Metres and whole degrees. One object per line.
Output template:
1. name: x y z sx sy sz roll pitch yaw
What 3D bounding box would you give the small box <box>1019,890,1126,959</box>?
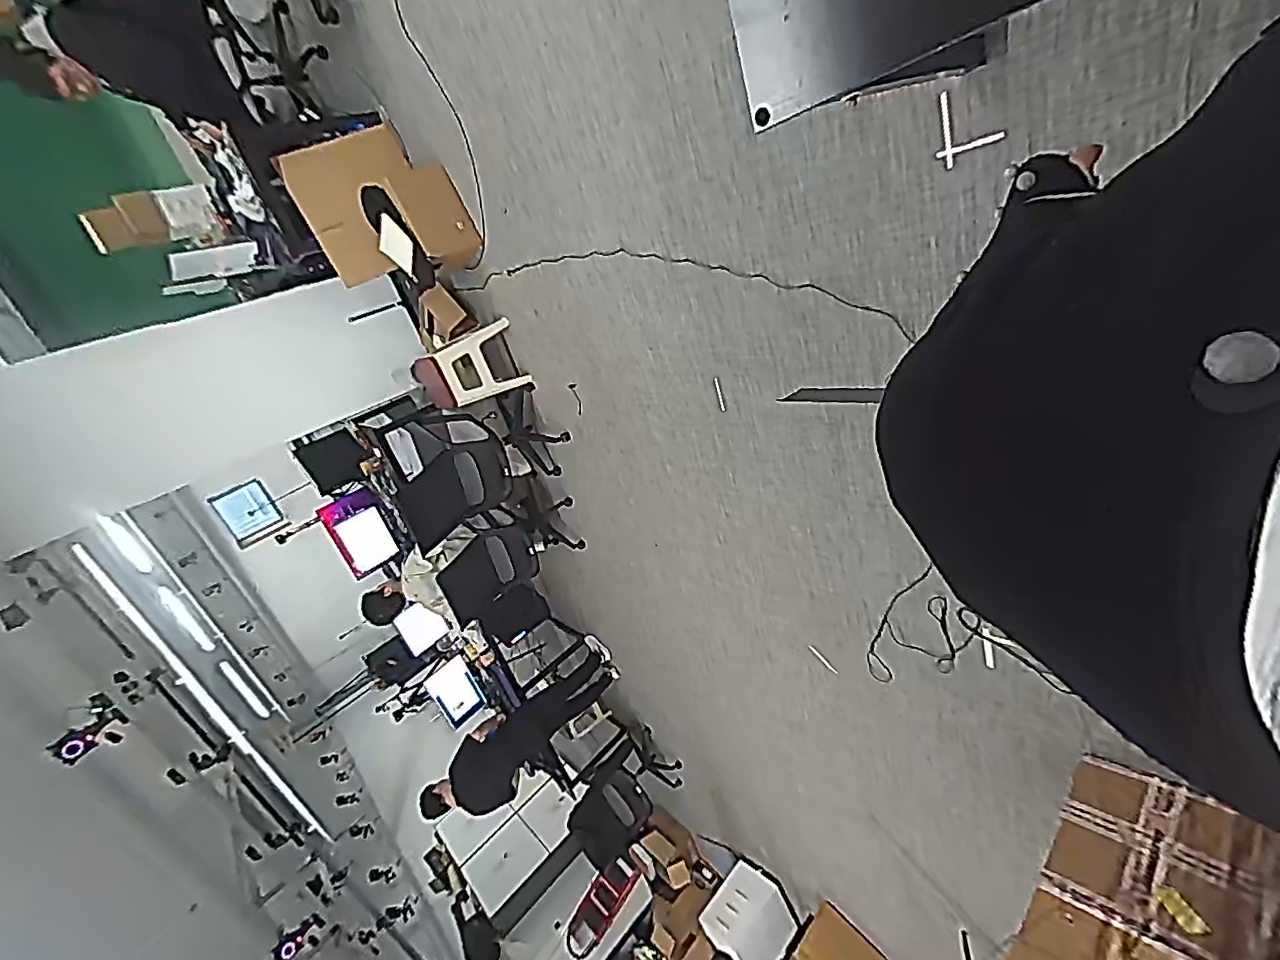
1. small box: 1.136 1.232 1.417 0.179 0.176 0.168 0 115 54

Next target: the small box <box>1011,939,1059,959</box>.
1. small box: 1.015 1.298 1.325 0.179 0.176 0.168 0 115 54
